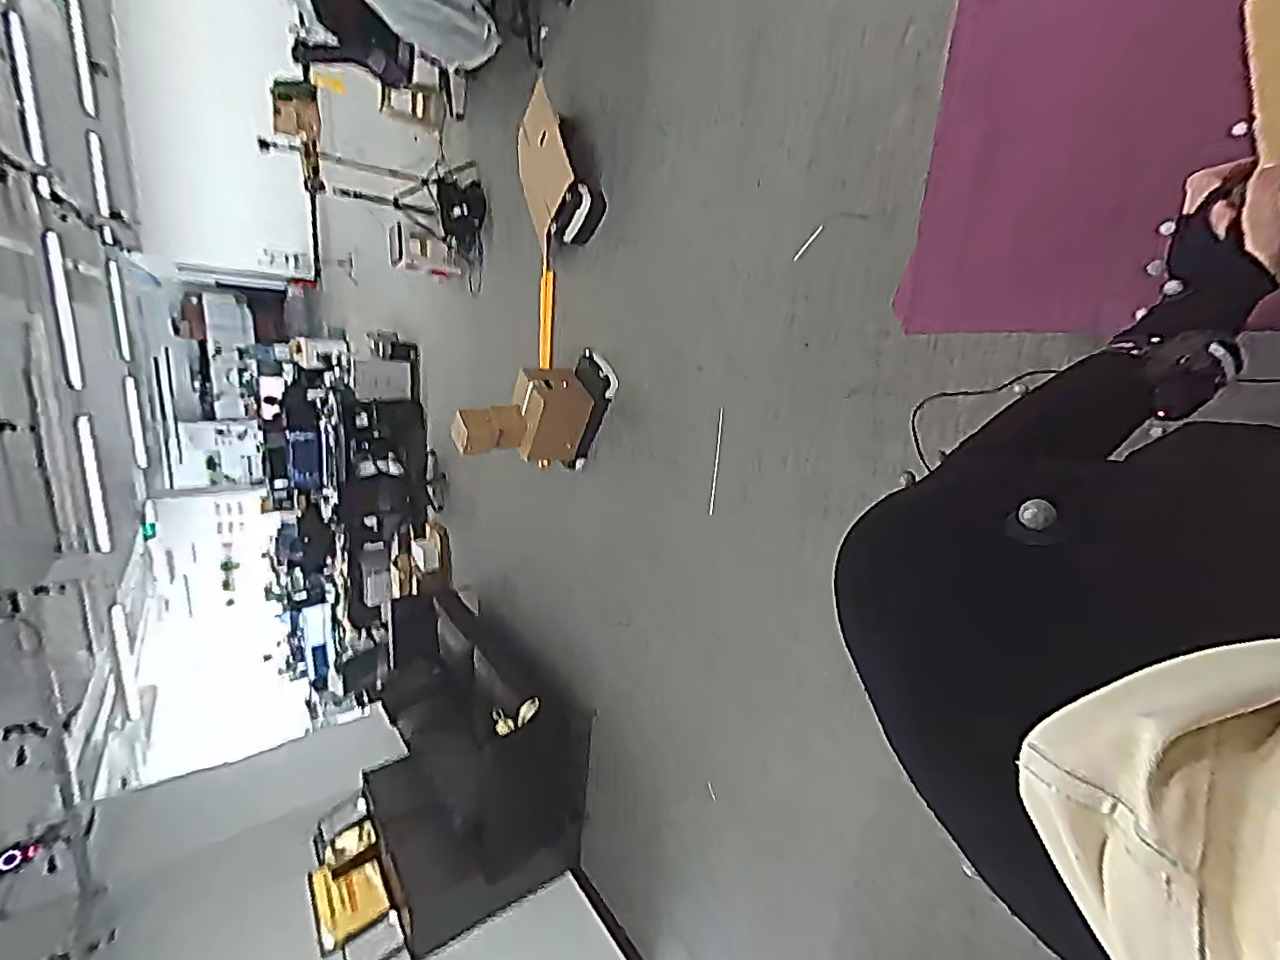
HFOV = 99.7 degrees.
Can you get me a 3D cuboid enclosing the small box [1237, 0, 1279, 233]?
[{"bbox_3d":[0.641,-0.337,0.459,0.168,0.176,0.179,-5,75,51],"label":"small box"}]
